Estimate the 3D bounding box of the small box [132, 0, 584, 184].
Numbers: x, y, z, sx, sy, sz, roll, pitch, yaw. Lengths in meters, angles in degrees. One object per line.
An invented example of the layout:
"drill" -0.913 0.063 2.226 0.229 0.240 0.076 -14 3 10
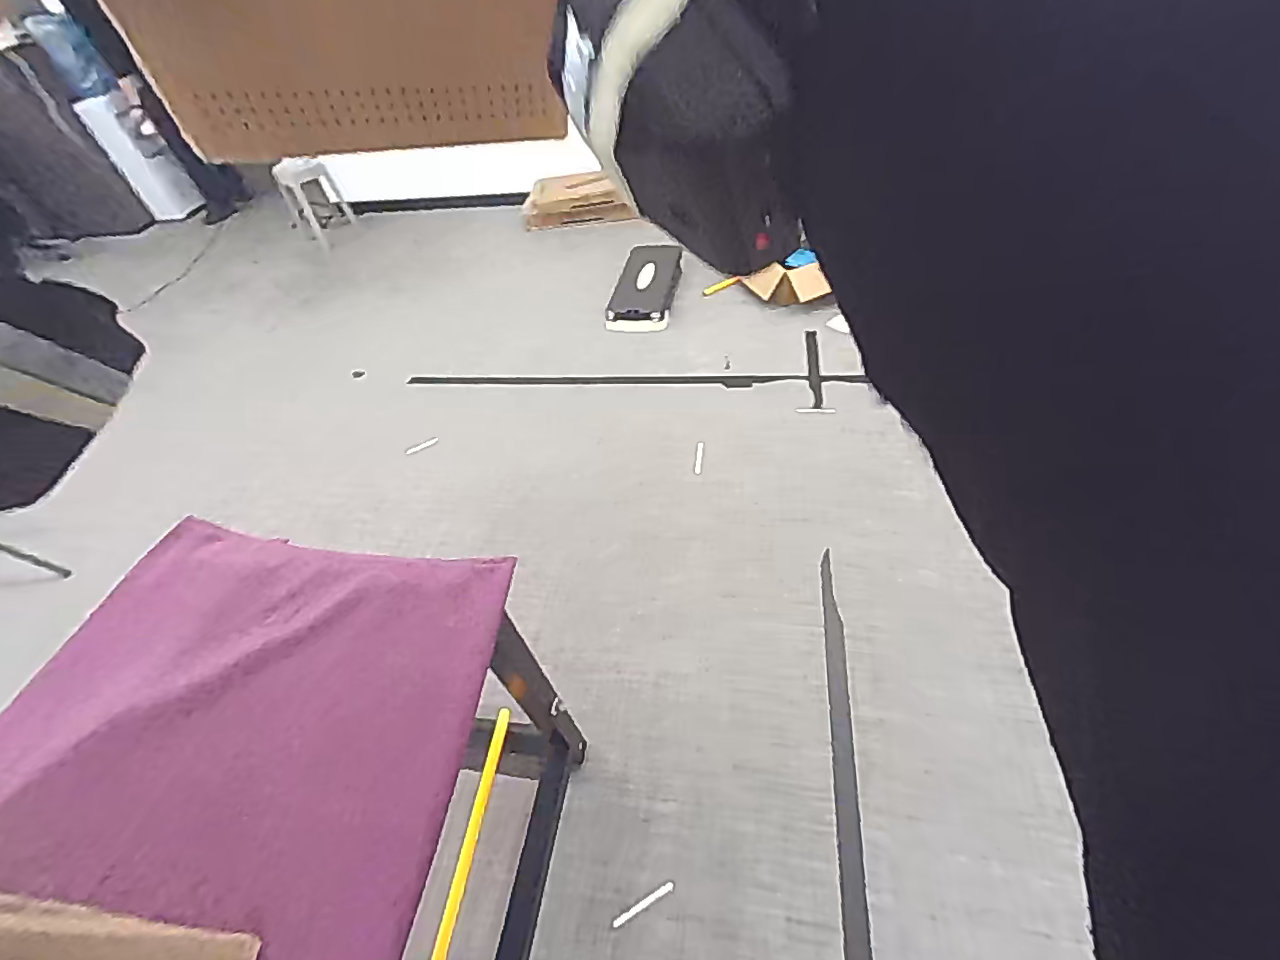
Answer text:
"small box" -0.121 -0.262 0.239 0.179 0.176 0.168 -11 69 -11
